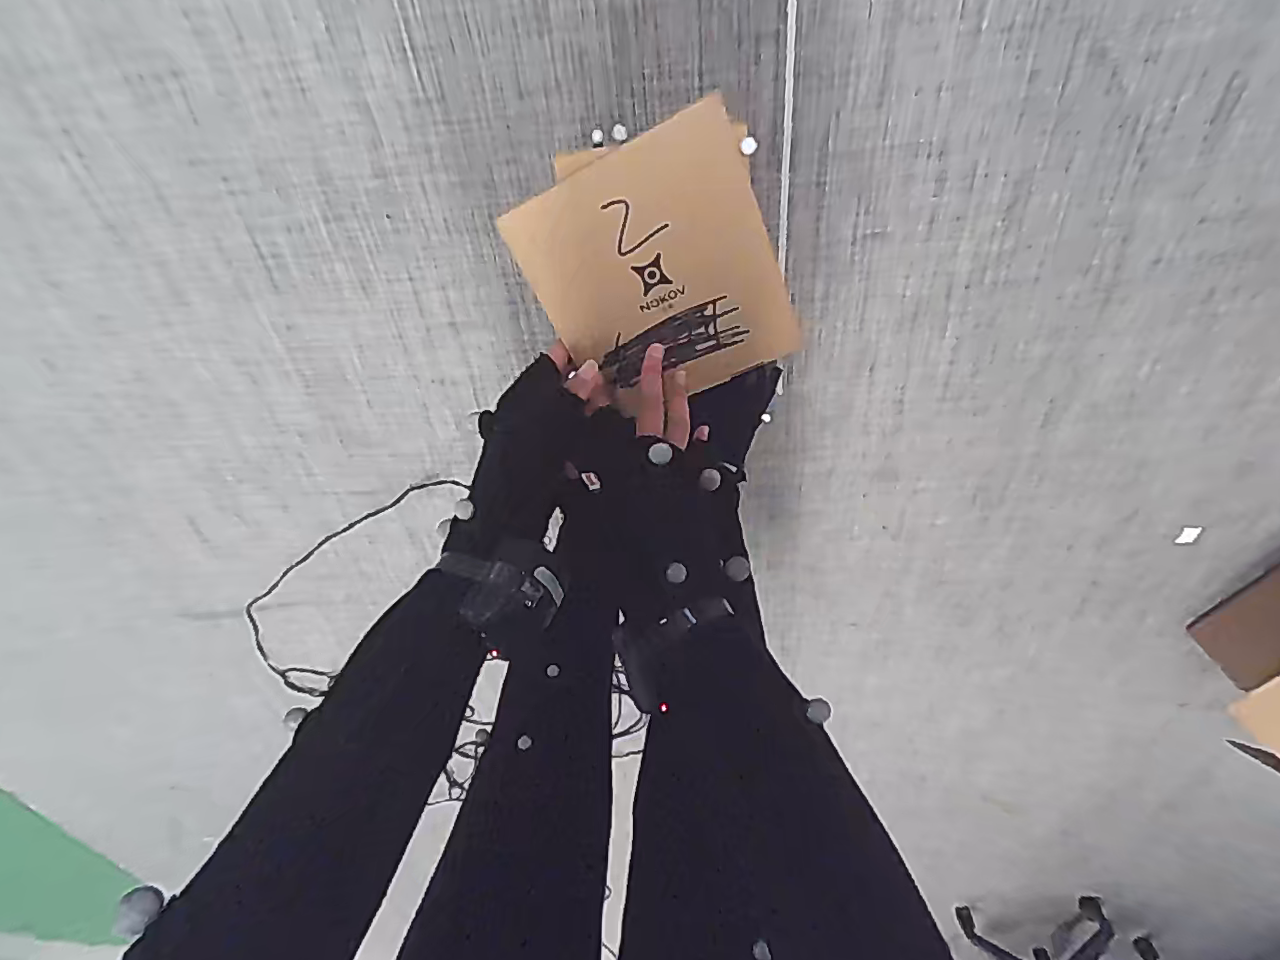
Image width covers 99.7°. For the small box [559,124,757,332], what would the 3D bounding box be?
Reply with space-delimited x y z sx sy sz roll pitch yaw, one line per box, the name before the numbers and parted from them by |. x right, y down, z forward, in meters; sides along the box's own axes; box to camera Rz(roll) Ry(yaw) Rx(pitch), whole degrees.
small box | 0.029 -0.276 0.587 0.179 0.176 0.168 -4 123 10
